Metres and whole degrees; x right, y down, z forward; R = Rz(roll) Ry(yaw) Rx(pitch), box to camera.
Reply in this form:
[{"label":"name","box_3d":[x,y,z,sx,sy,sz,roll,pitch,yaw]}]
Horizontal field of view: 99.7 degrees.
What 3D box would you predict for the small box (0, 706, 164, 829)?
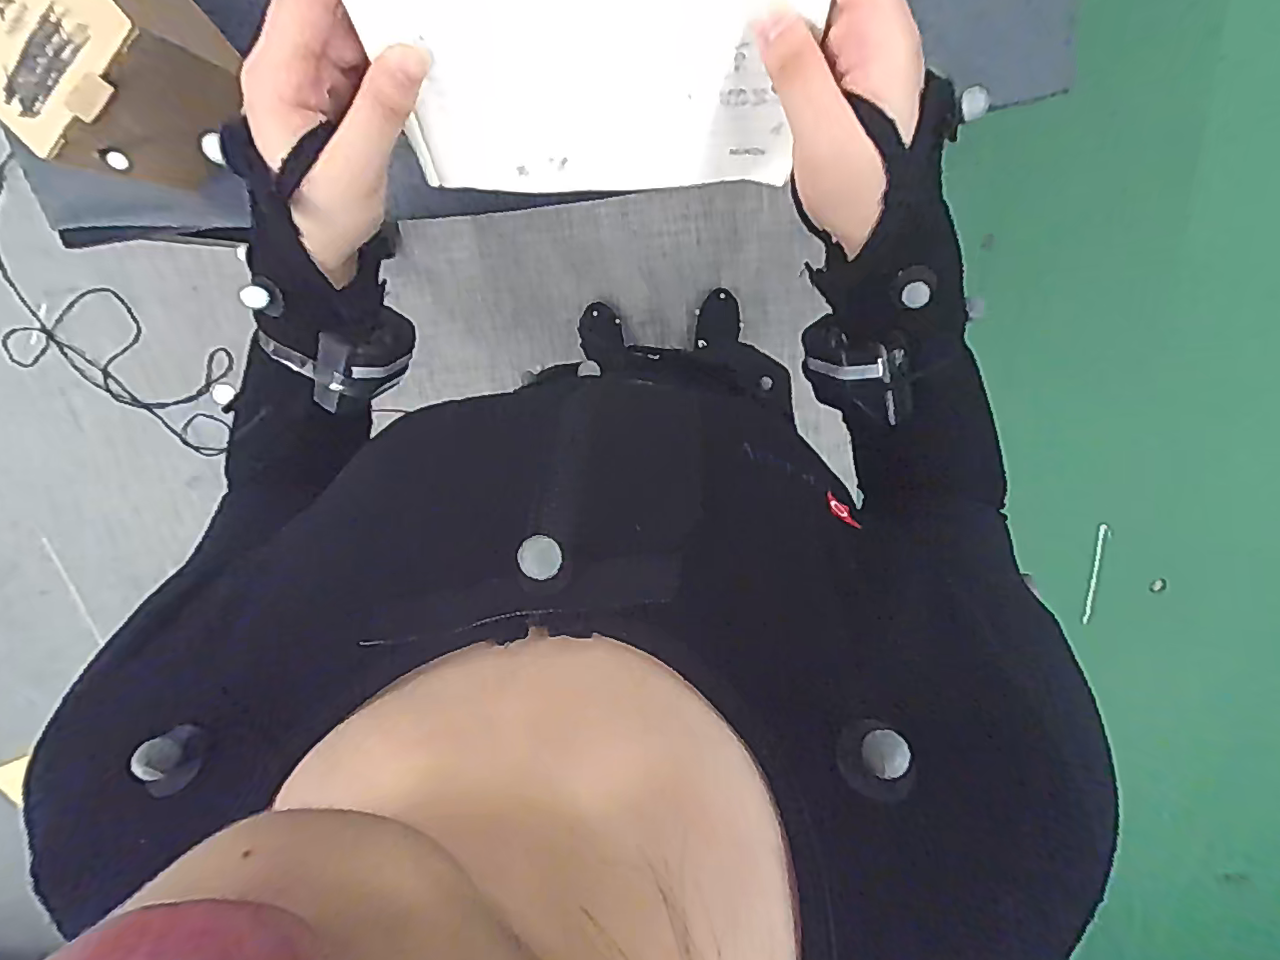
[{"label":"small box","box_3d":[-1.289,0.658,1.260,0.168,0.176,0.179,-23,106,10]}]
